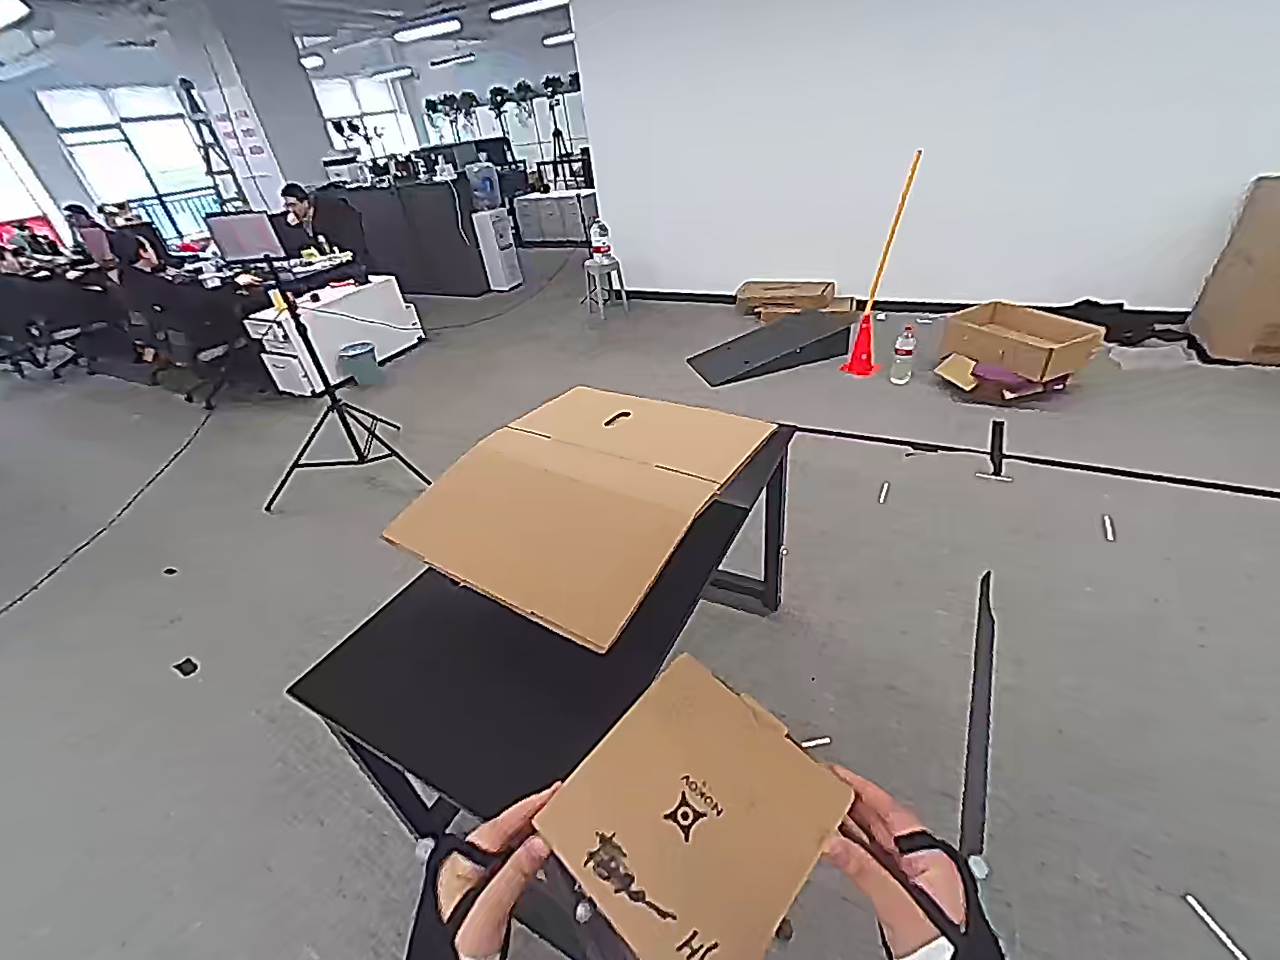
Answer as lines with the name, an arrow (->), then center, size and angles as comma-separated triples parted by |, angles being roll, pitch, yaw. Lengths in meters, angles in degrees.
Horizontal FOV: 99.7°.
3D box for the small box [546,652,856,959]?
small box -> 0.050, 0.291, 0.457 | 0.168, 0.176, 0.179 | 32, 58, 31
